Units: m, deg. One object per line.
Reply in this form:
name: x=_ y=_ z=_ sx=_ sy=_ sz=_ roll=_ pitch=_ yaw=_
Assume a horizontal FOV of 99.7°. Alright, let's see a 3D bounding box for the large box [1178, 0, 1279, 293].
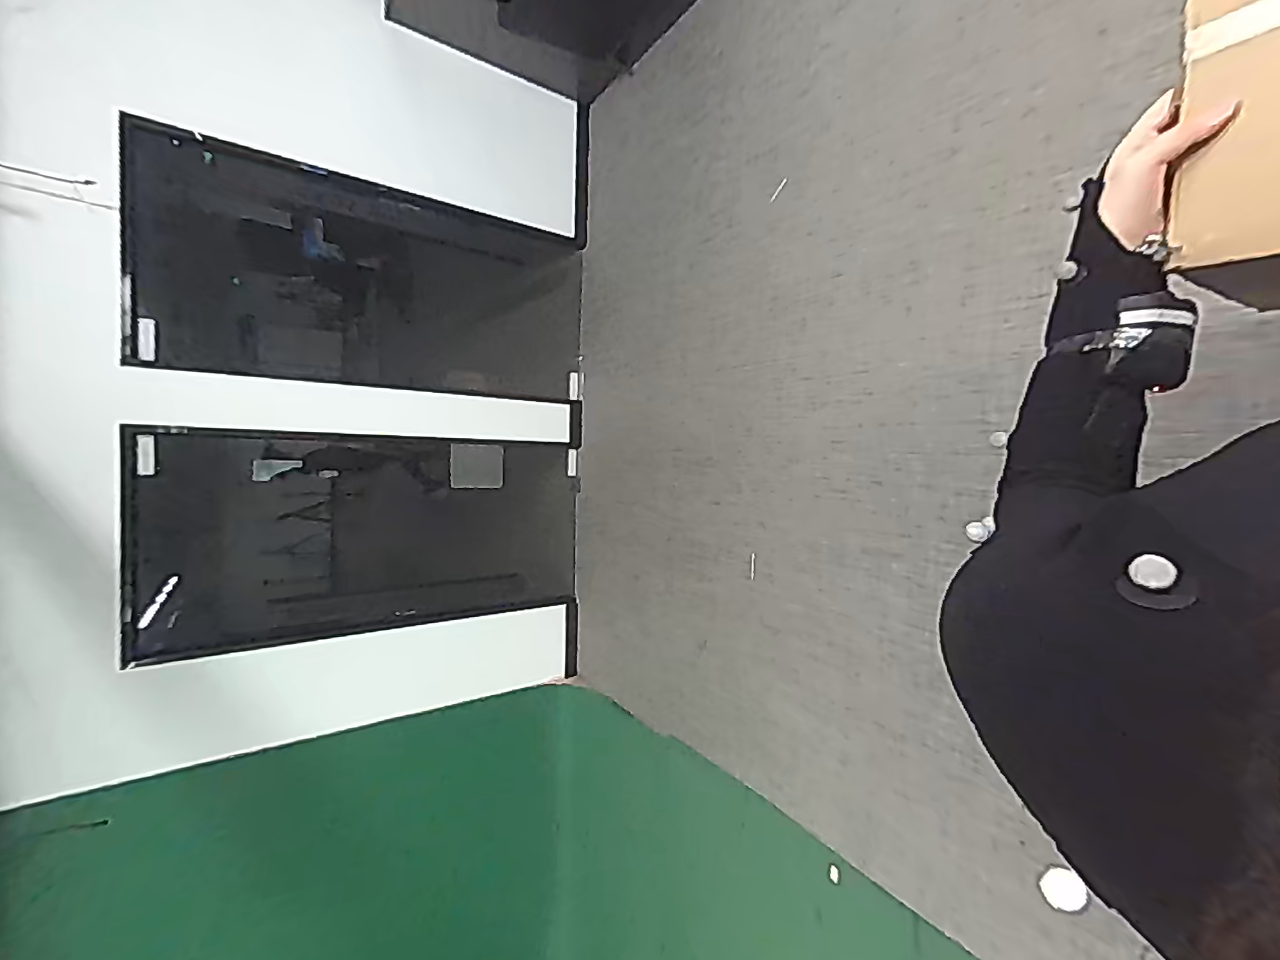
large box: x=0.648 y=-0.315 z=0.313 sx=0.408 sy=0.320 sz=0.320 roll=10 pitch=102 yaw=58
